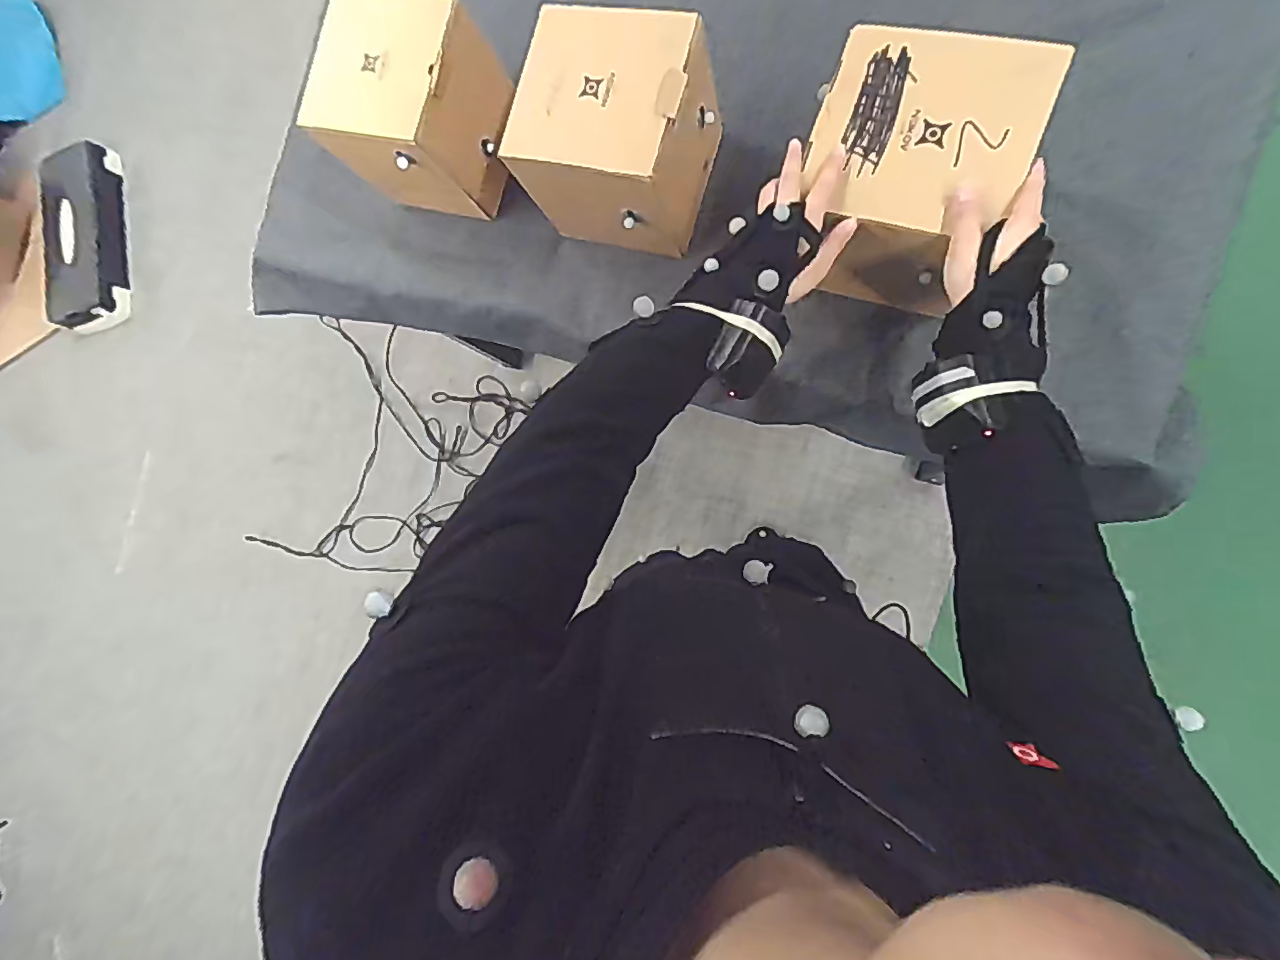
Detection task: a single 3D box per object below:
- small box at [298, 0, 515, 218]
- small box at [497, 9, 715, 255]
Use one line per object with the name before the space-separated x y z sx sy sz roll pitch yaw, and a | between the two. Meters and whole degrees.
small box | -0.281 -0.463 0.692 0.179 0.176 0.168 16 90 15
small box | -0.025 -0.379 0.614 0.179 0.176 0.168 17 89 18
